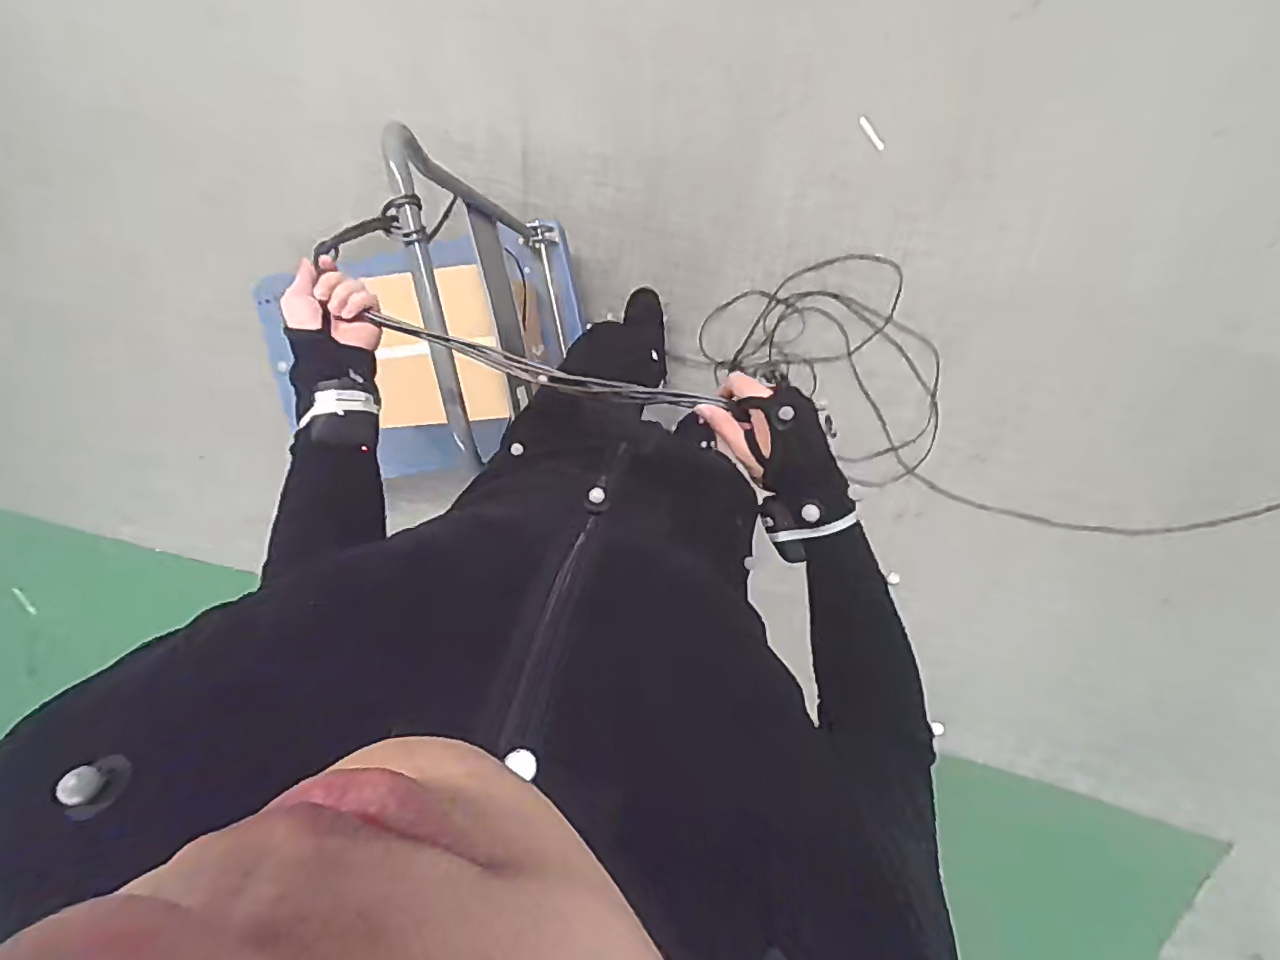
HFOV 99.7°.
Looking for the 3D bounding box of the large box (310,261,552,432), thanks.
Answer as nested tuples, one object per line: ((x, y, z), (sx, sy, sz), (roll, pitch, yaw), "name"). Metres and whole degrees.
((-0.456, -0.302, 1.266), (0.408, 0.320, 0.320), (-4, 101, 8), "large box")
